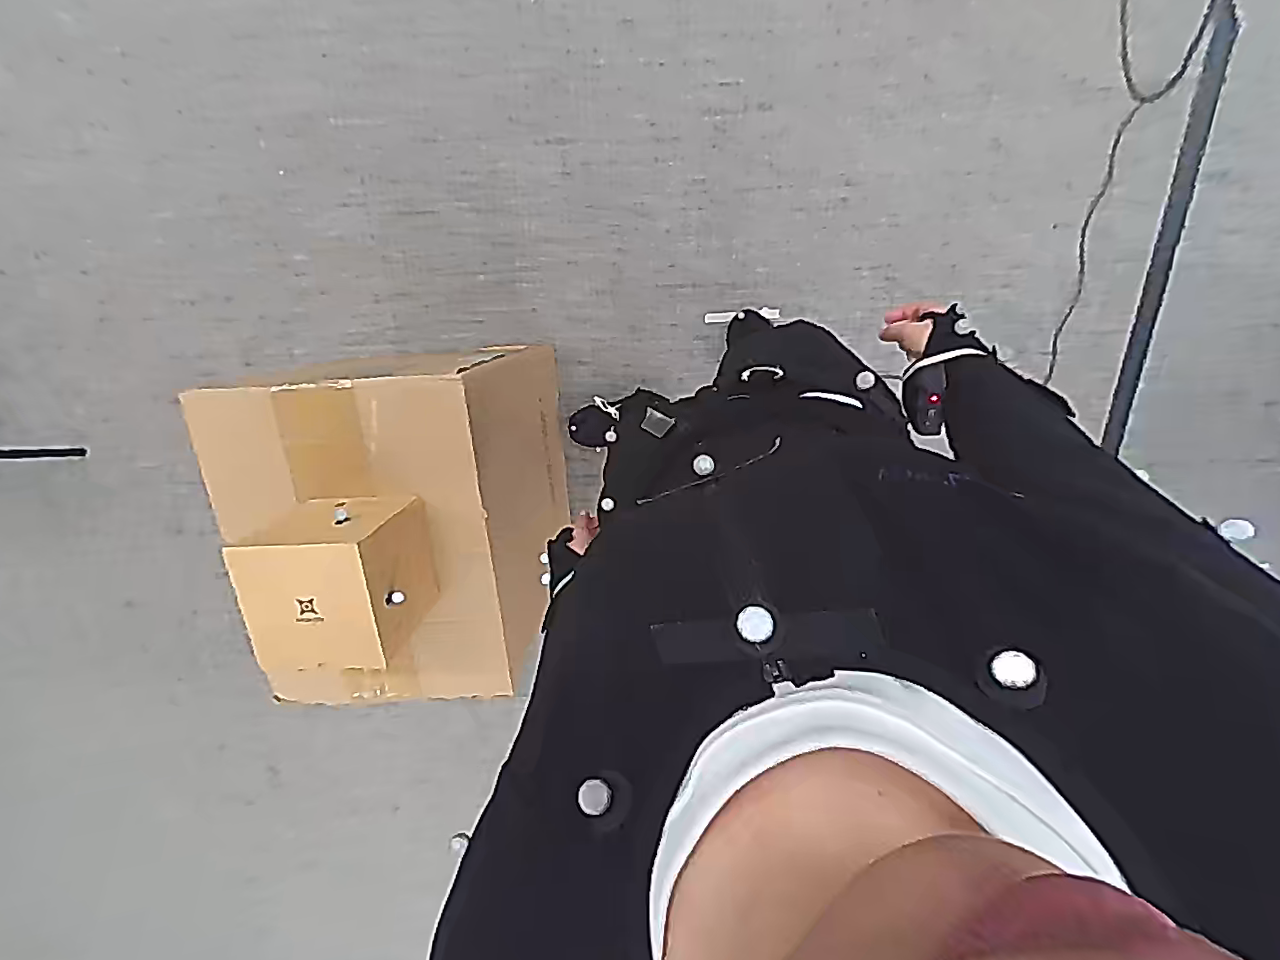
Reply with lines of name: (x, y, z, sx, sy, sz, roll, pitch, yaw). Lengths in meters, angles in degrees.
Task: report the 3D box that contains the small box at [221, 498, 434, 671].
small box: (-0.397, 0.128, 0.722, 0.168, 0.176, 0.179, -3, 109, 3)
